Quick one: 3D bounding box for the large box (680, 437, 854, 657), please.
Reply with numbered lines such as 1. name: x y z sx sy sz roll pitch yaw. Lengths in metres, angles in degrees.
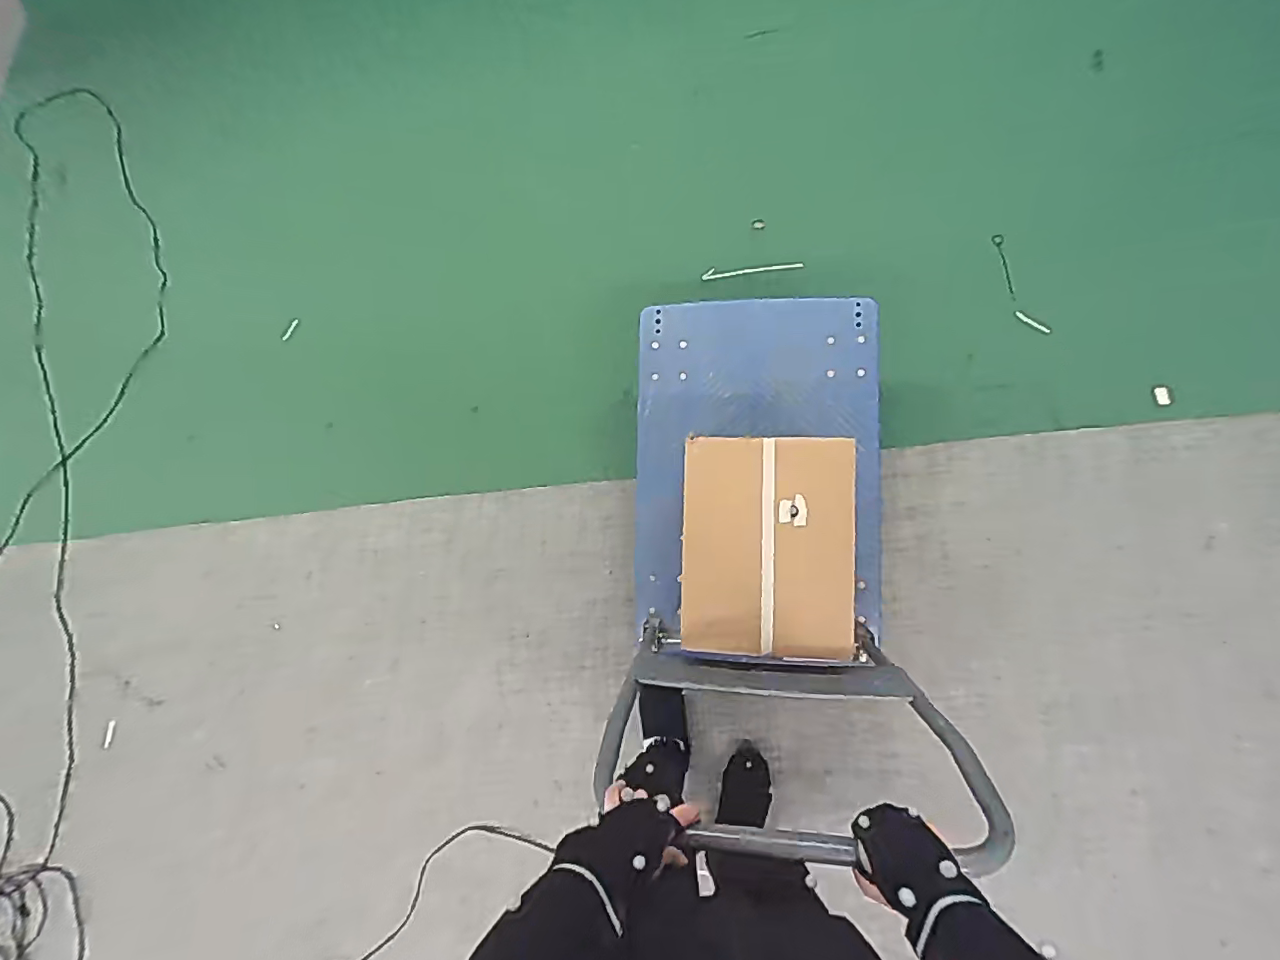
1. large box: 0.257 0.131 1.148 0.320 0.320 0.408 1 86 9
